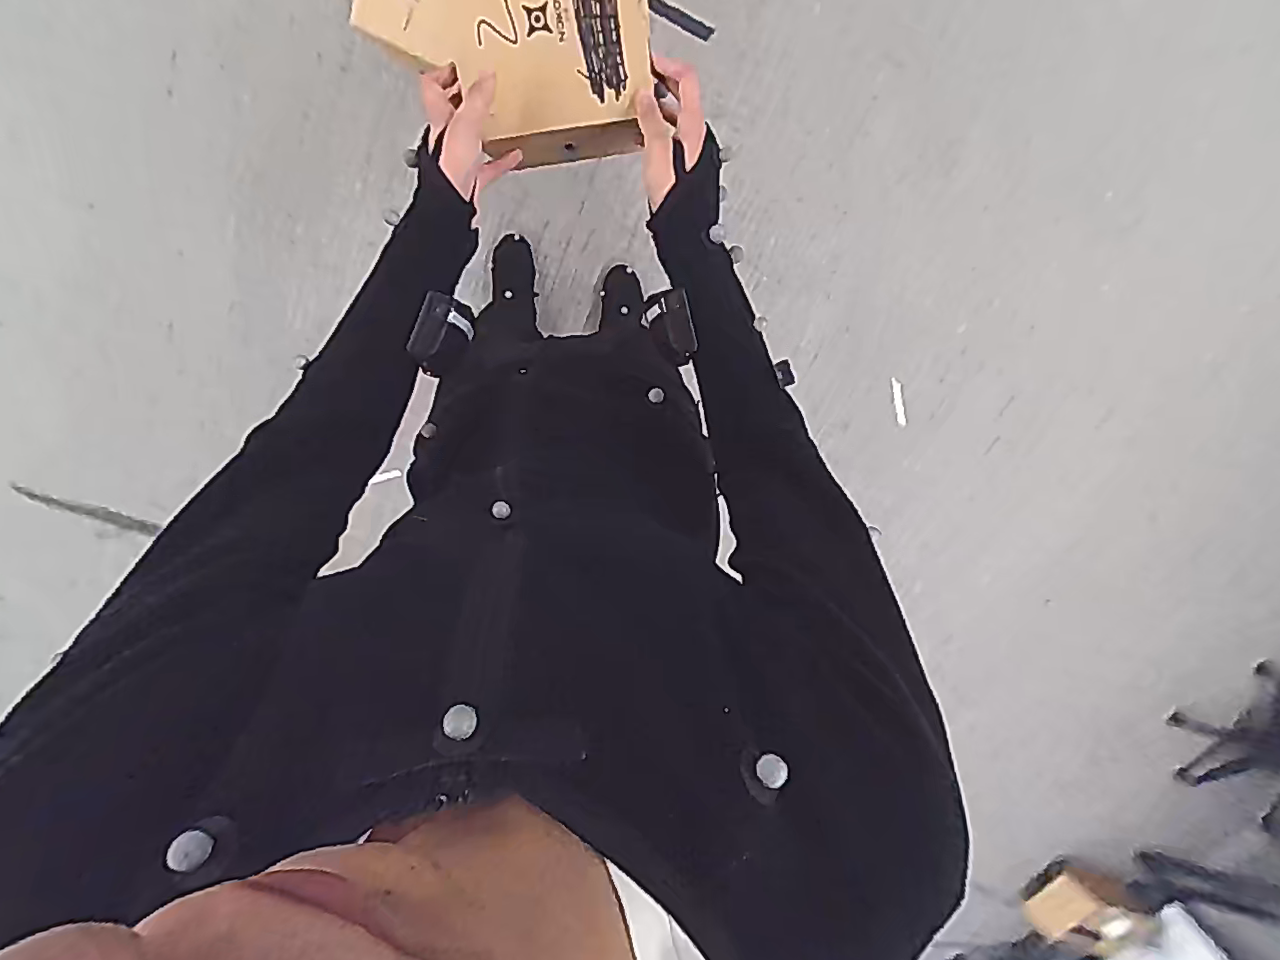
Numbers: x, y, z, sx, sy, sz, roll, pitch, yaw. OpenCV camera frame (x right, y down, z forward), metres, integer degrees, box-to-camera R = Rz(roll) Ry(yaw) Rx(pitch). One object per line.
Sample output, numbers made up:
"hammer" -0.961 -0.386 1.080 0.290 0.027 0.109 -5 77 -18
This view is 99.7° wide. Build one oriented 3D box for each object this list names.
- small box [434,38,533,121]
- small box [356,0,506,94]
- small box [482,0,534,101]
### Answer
"small box" -0.339 -0.929 1.185 0.168 0.176 0.179 19 111 -11
"small box" -0.332 -0.785 0.890 0.168 0.176 0.179 22 111 -11
"small box" -0.316 -0.864 1.036 0.179 0.176 0.168 18 111 -10
